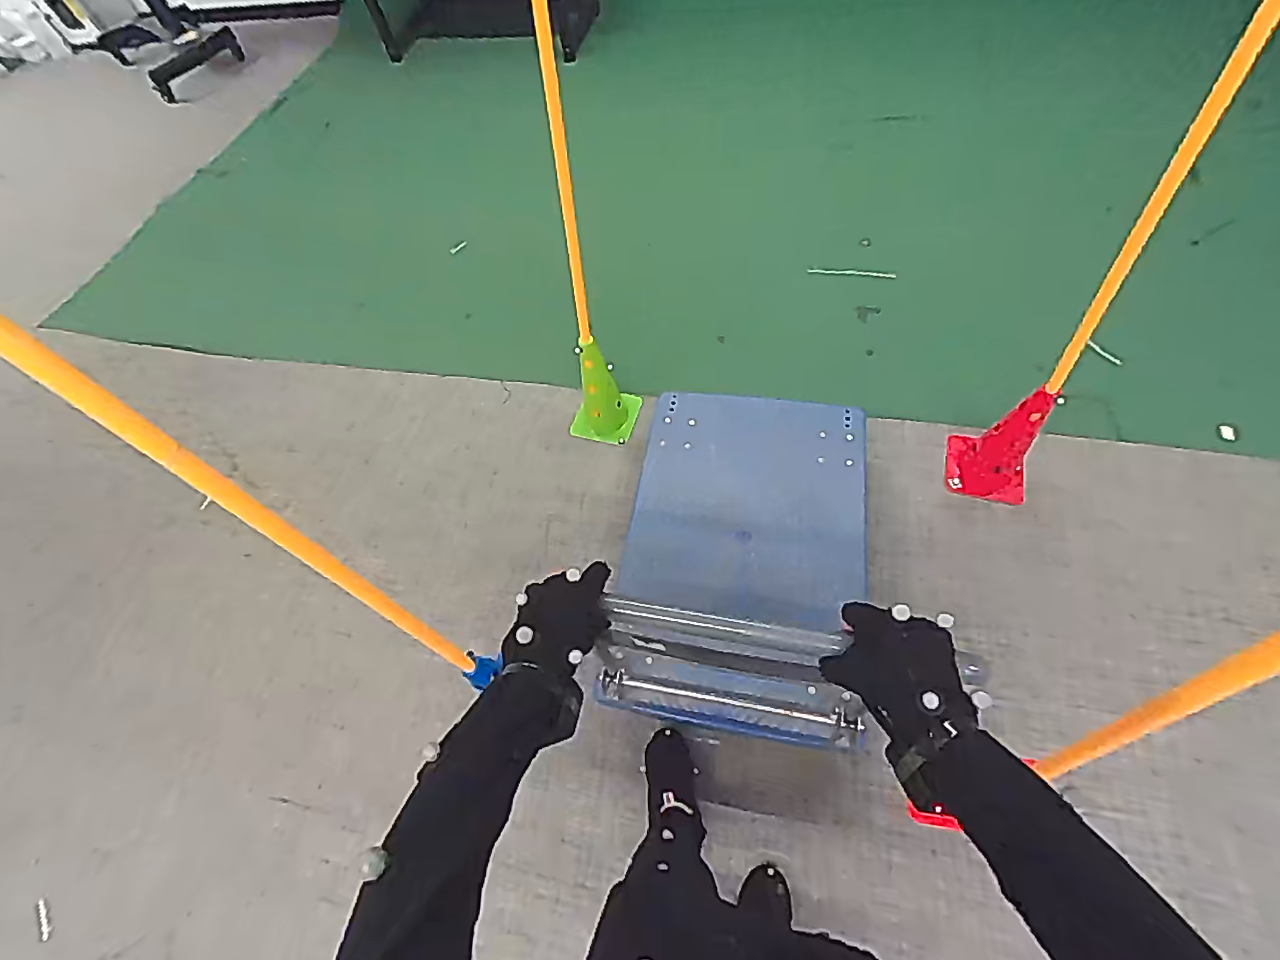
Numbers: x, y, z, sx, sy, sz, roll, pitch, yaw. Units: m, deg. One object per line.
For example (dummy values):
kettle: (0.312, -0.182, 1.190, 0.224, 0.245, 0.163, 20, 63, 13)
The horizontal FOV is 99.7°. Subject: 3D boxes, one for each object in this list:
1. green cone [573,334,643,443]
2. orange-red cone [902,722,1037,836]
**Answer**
green cone: (-0.127, -0.302, 1.648, 0.202, 0.368, 0.200, 12, 62, 15)
orange-red cone: (0.664, 0.570, 1.051, 0.199, 0.360, 0.198, 7, 61, 13)
